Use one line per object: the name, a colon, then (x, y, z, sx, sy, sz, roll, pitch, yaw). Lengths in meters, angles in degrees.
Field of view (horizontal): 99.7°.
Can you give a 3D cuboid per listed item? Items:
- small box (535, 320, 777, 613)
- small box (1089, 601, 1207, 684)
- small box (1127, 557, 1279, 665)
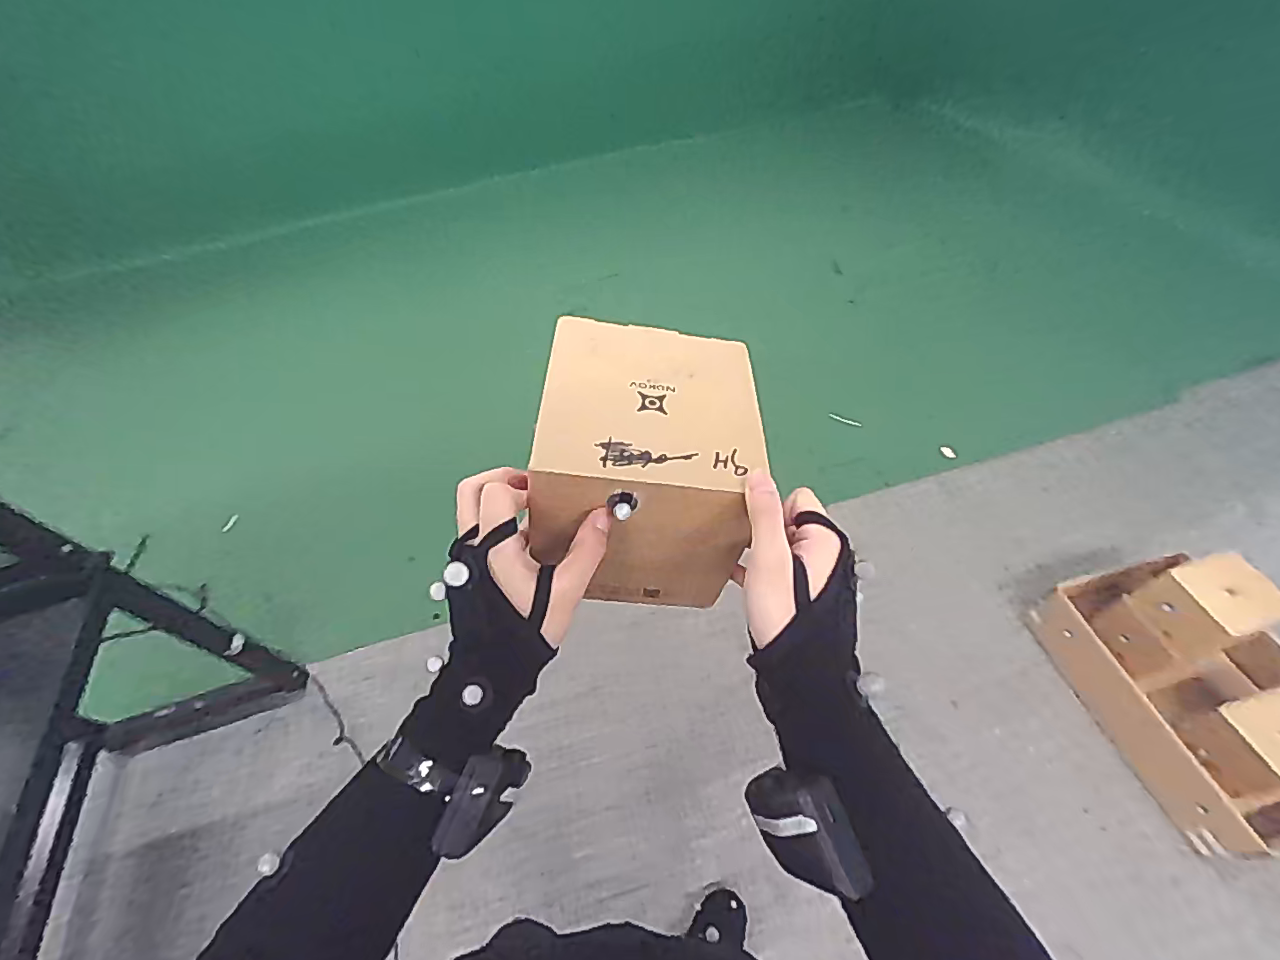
small box: (0.003, -0.009, 0.470, 0.168, 0.176, 0.179, 7, 48, -5)
small box: (1.311, 0.404, 1.388, 0.179, 0.176, 0.168, -14, 53, -6)
small box: (1.298, 0.309, 1.257, 0.179, 0.176, 0.168, -15, 52, -6)
